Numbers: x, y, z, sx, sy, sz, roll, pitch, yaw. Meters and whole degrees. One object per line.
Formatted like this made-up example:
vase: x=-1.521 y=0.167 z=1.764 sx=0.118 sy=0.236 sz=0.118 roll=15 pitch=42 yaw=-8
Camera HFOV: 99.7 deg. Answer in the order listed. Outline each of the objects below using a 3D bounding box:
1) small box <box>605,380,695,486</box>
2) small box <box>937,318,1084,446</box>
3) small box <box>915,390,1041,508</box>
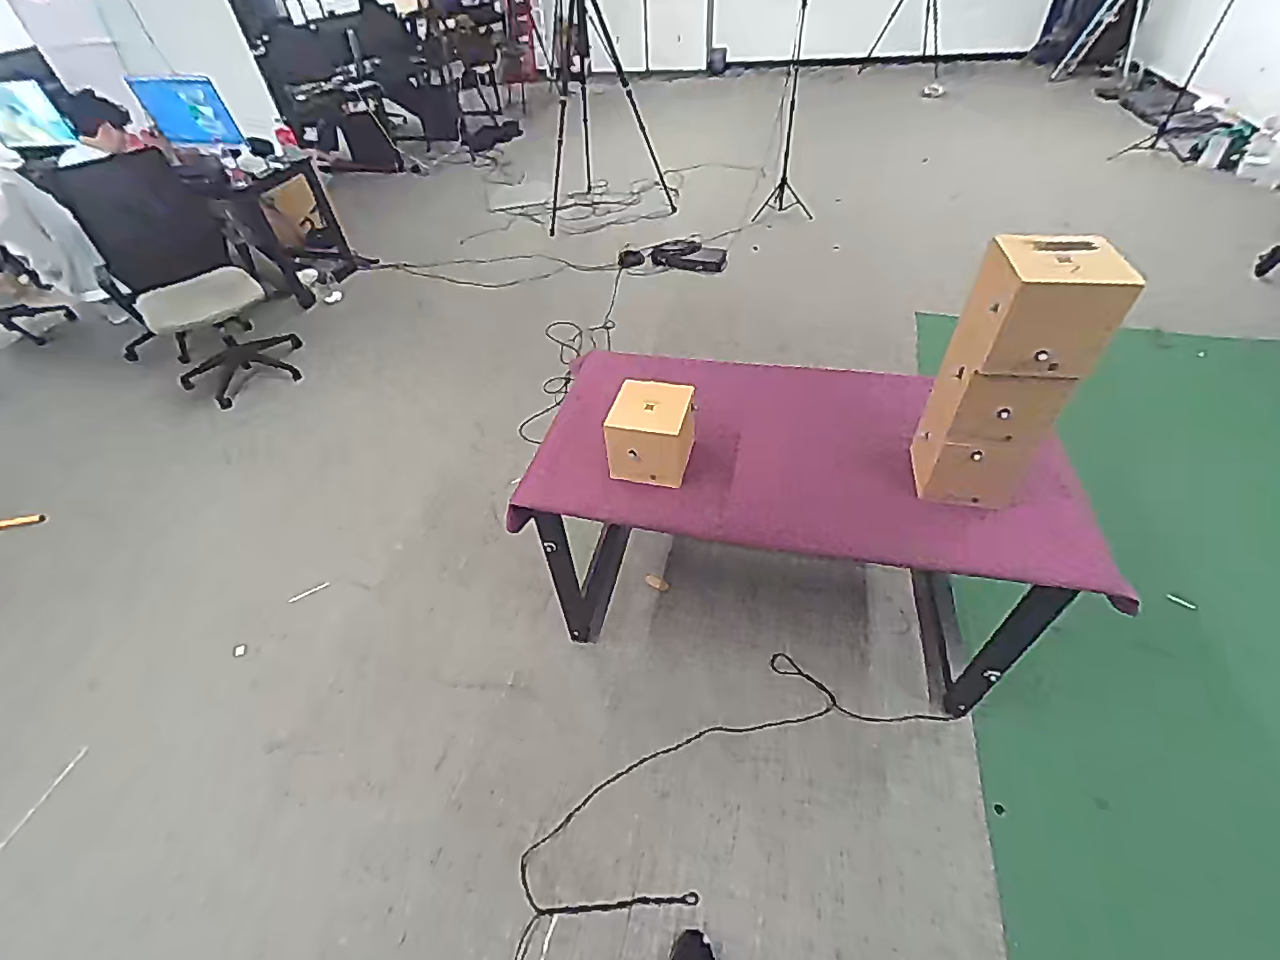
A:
small box: x=0.031 y=-0.107 z=1.241 sx=0.168 sy=0.176 sz=0.179 roll=8 pitch=46 yaw=13
small box: x=0.681 y=-0.184 z=1.019 sx=0.168 sy=0.176 sz=0.179 roll=8 pitch=46 yaw=13
small box: x=0.692 y=-0.067 z=1.135 sx=0.168 sy=0.176 sz=0.179 roll=6 pitch=46 yaw=13
